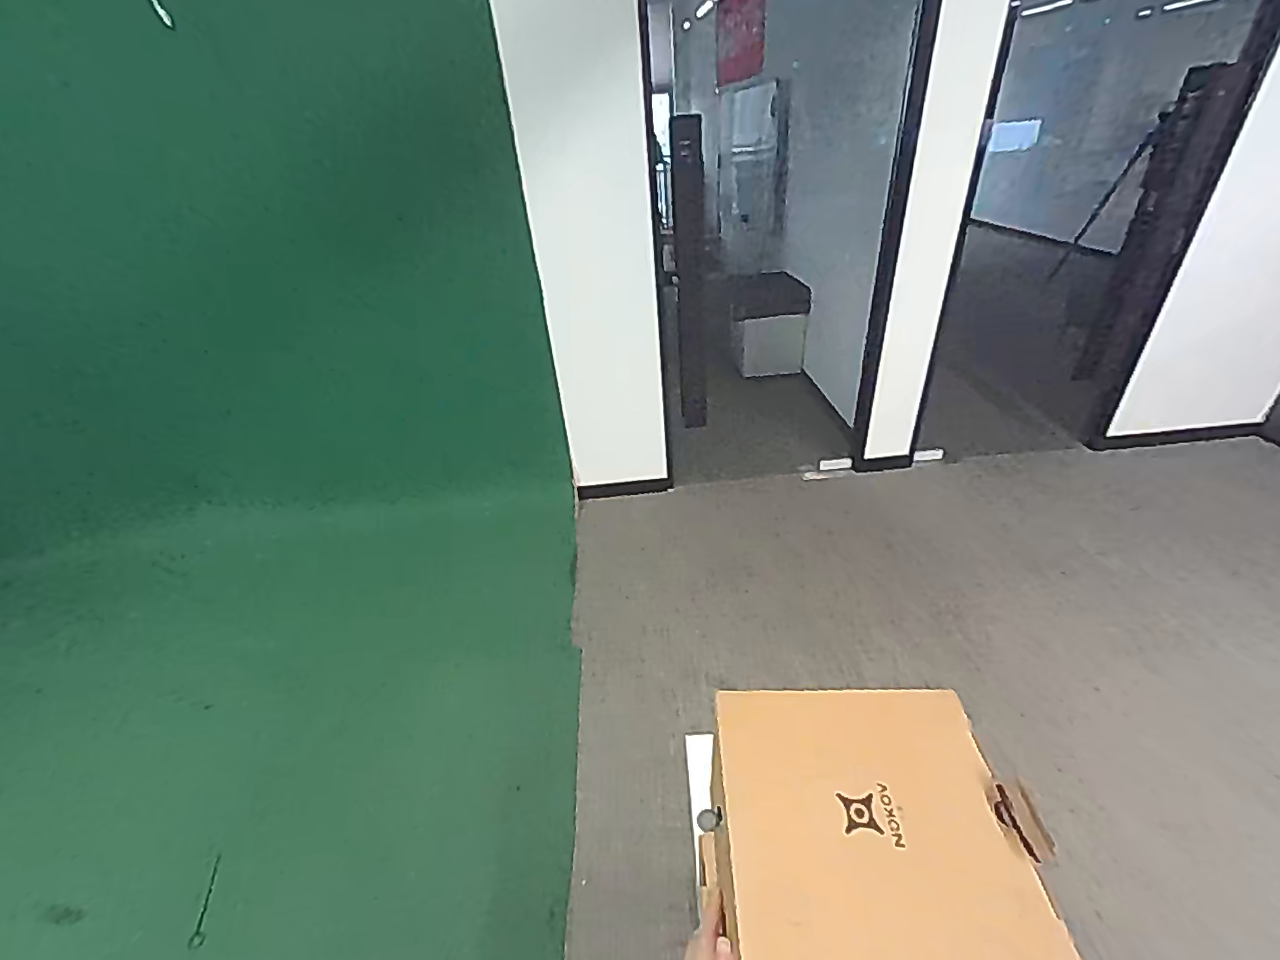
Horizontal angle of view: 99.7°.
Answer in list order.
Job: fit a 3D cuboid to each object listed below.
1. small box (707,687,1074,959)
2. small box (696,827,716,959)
[{"bbox_3d":[0.139,0.266,0.380,0.179,0.176,0.168,-1,39,2],"label":"small box"},{"bbox_3d":[0.169,0.567,0.691,0.179,0.176,0.168,-4,34,1],"label":"small box"}]
